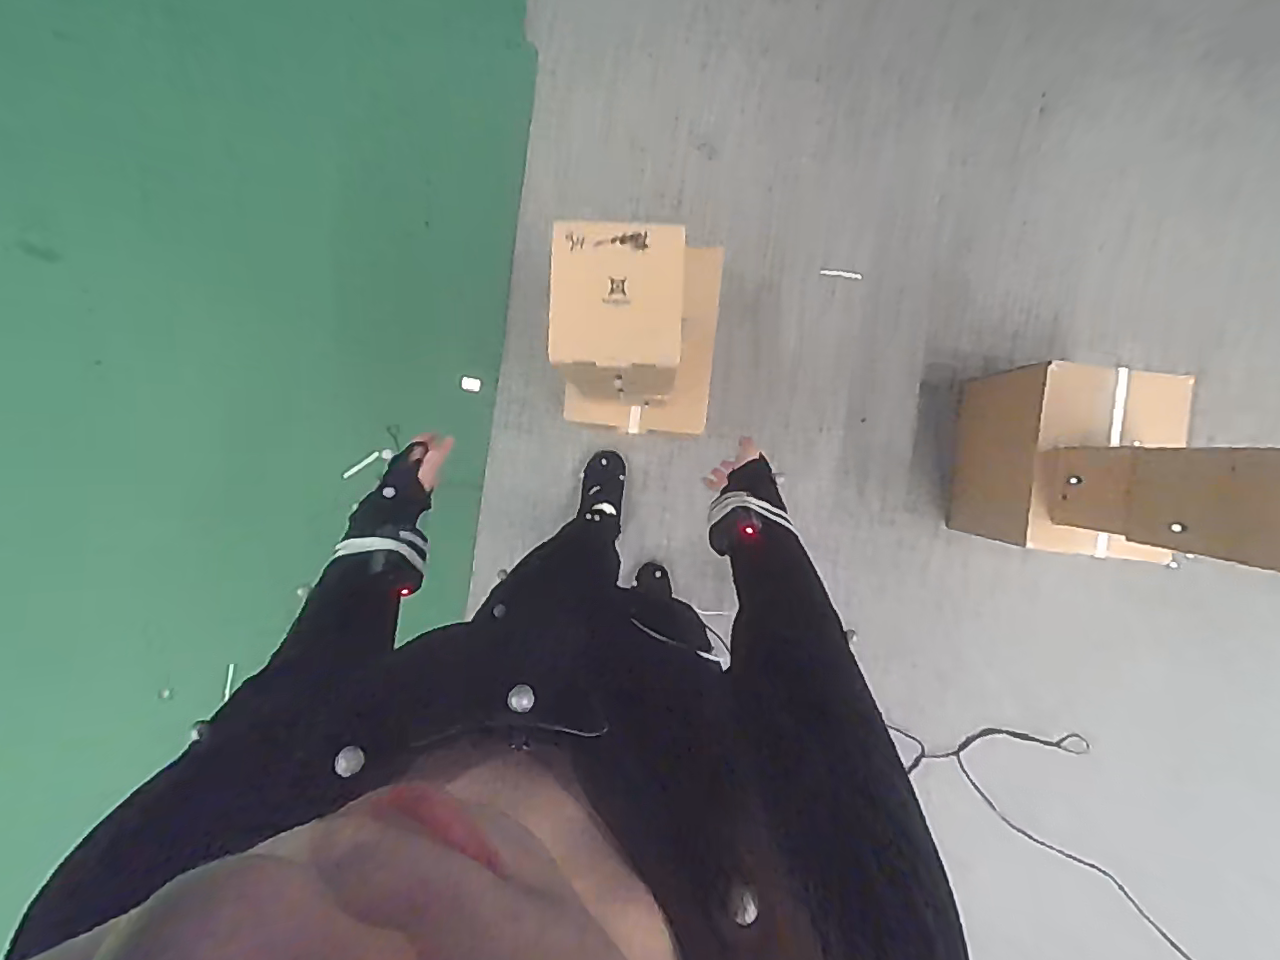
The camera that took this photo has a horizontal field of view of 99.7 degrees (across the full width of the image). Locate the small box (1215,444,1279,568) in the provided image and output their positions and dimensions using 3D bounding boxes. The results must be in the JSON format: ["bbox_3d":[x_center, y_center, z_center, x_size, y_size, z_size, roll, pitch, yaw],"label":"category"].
[{"bbox_3d":[0.967,0.046,0.746,0.168,0.176,0.179,8,95,2],"label":"small box"}]

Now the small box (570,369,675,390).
[{"bbox_3d":[-0.022,-0.247,0.908,0.168,0.176,0.179,1,92,1],"label":"small box"}]

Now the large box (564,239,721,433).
[{"bbox_3d":[0.008,-0.330,1.311,0.320,0.320,0.408,6,92,0],"label":"large box"}]

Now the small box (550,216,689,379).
[{"bbox_3d":[-0.024,-0.237,0.743,0.168,0.176,0.179,3,93,1],"label":"small box"}]

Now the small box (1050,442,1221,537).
[{"bbox_3d":[0.970,0.012,1.074,0.179,0.176,0.168,5,94,2],"label":"small box"}]

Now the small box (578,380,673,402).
[{"bbox_3d":[-0.020,-0.249,1.072,0.179,0.176,0.168,5,93,2],"label":"small box"}]
